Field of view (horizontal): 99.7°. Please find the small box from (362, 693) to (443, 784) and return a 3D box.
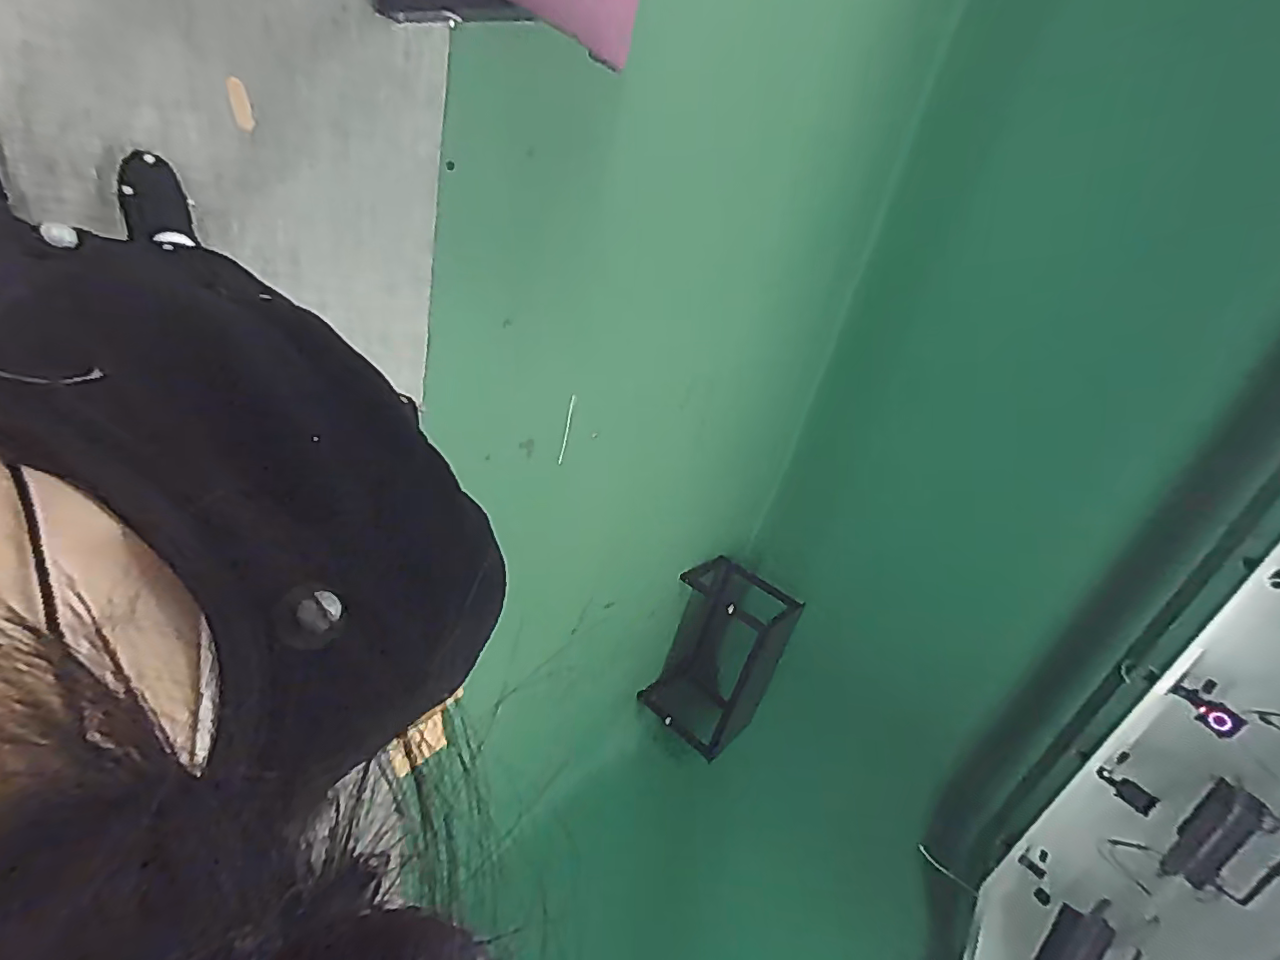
[{"bbox_3d":[-0.757,0.812,1.723,0.168,0.176,0.179,-29,136,-39],"label":"small box"}]
